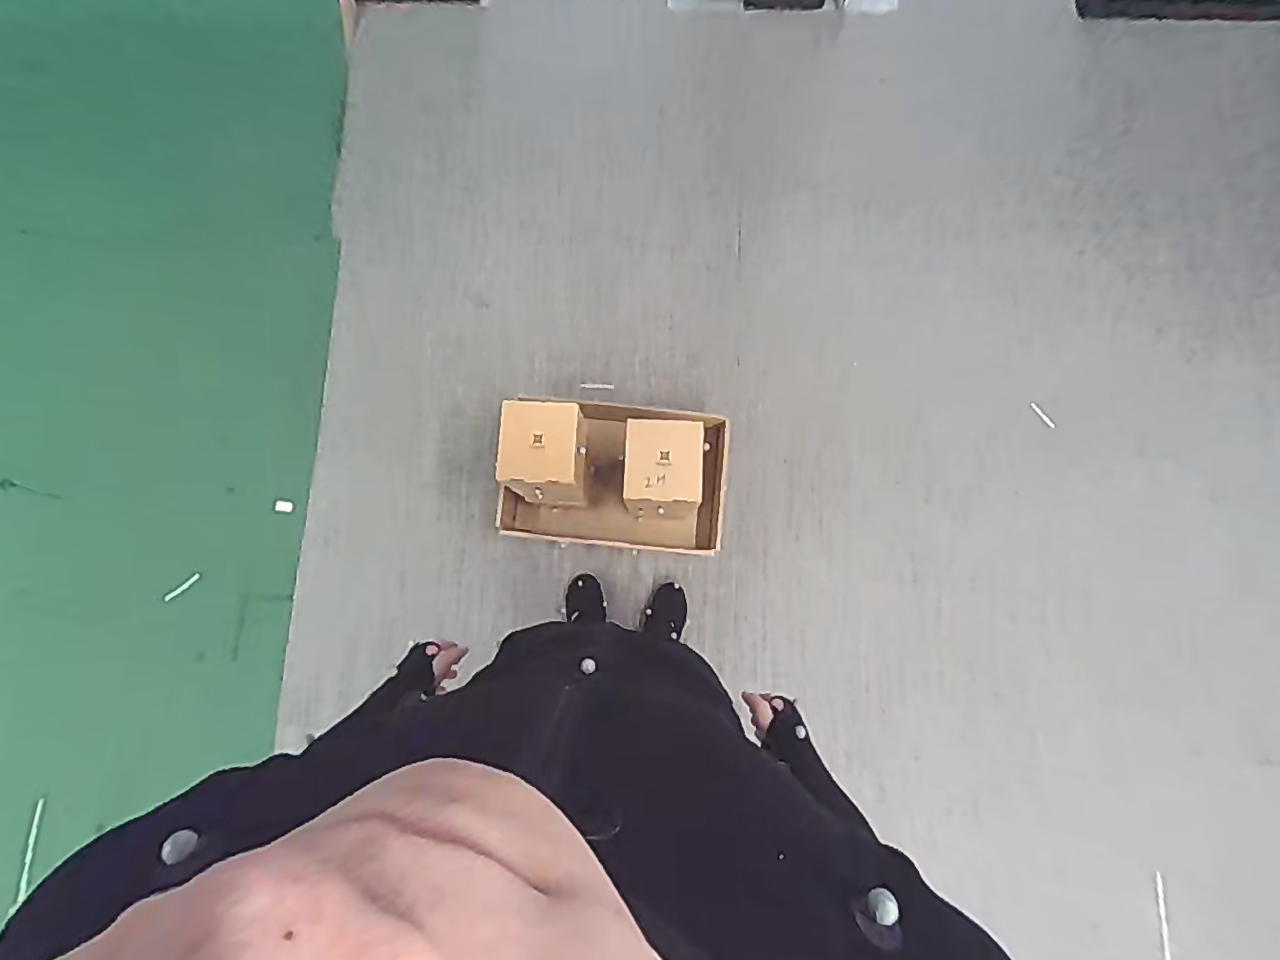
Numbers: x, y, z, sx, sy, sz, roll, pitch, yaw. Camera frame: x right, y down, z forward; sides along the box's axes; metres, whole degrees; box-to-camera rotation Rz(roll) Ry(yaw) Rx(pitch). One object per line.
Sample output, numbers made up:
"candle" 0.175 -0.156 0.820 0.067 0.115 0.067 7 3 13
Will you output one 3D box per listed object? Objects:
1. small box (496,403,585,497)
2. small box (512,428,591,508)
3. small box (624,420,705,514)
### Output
"small box" -0.217 -0.063 1.219 0.168 0.176 0.179 2 81 0
"small box" -0.218 -0.032 1.378 0.168 0.176 0.179 3 79 2
"small box" 0.052 -0.024 1.207 0.168 0.176 0.179 2 80 2
